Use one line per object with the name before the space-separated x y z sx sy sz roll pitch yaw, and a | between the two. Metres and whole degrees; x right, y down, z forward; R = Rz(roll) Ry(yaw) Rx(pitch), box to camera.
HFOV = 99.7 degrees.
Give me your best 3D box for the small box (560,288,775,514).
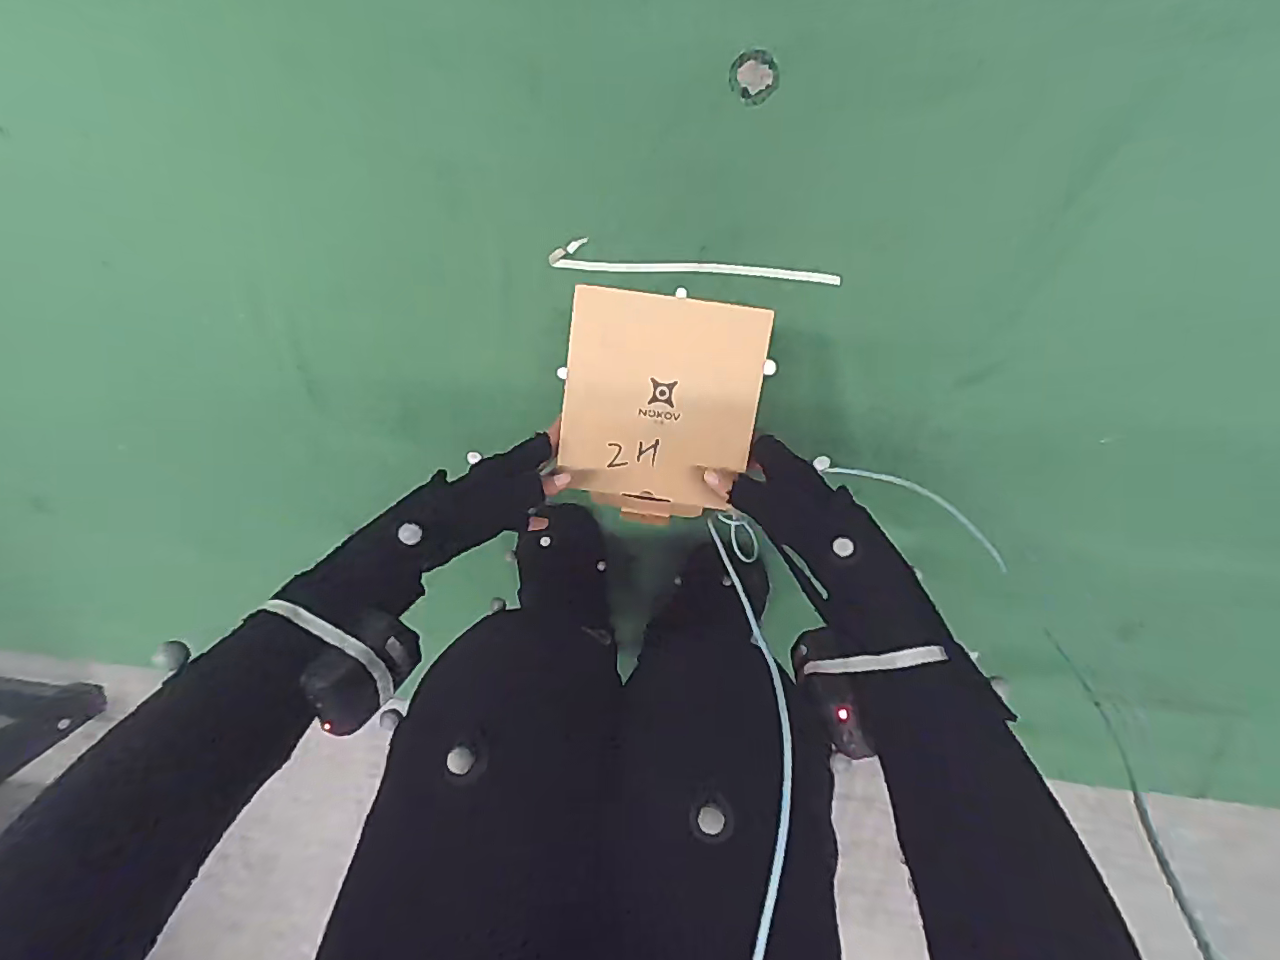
small box | 0.023 -0.082 0.537 0.168 0.176 0.179 8 105 1
